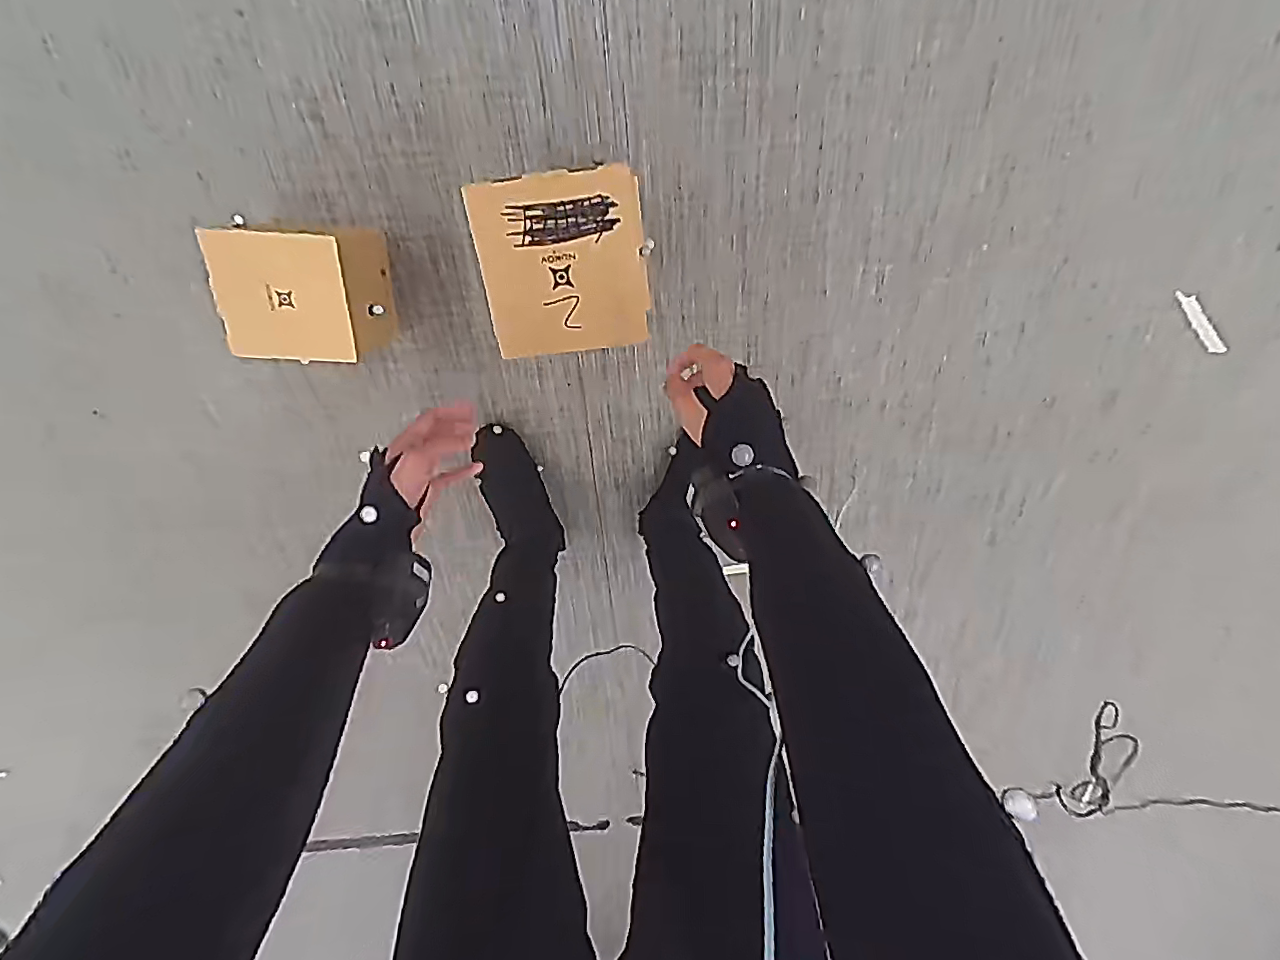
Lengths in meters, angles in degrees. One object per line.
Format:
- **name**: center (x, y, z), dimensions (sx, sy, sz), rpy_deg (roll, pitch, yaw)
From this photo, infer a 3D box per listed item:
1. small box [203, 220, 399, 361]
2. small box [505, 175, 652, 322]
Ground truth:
- **small box**: center (-0.470, -0.281, 0.789), dimensions (0.179, 0.176, 0.168), rpy_deg (3, 118, -2)
- **small box**: center (-0.077, -0.331, 0.773), dimensions (0.179, 0.176, 0.168), rpy_deg (-6, 118, 1)
